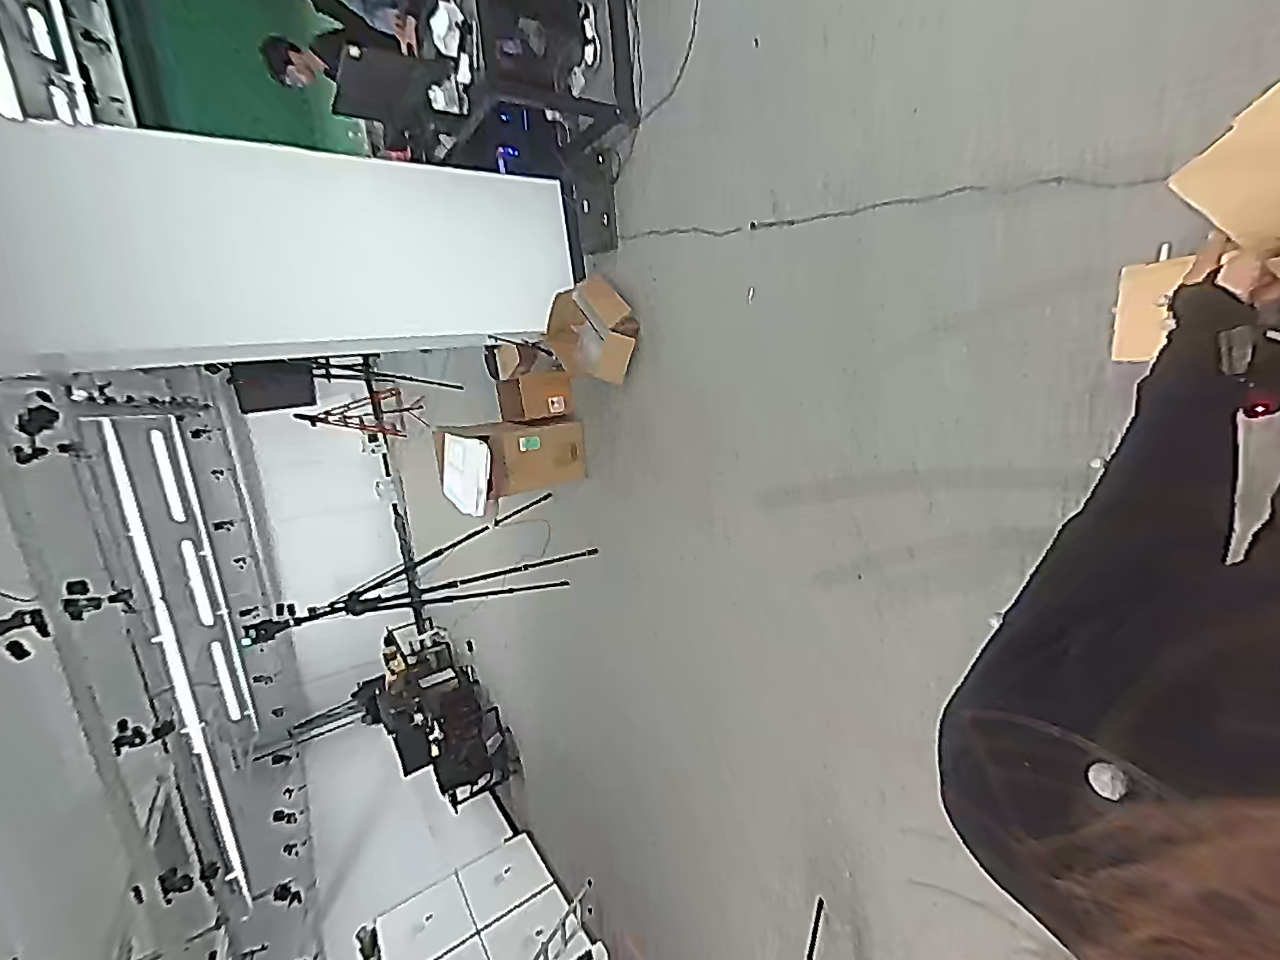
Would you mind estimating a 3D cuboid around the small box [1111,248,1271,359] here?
[{"bbox_3d":[1.006,-0.320,0.990,0.168,0.176,0.179,16,115,55],"label":"small box"}]

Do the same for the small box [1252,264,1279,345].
[{"bbox_3d":[1.138,-0.354,1.076,0.179,0.176,0.168,13,114,55],"label":"small box"}]

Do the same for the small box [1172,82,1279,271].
[{"bbox_3d":[0.691,-0.310,0.530,0.179,0.176,0.168,60,141,18],"label":"small box"}]
